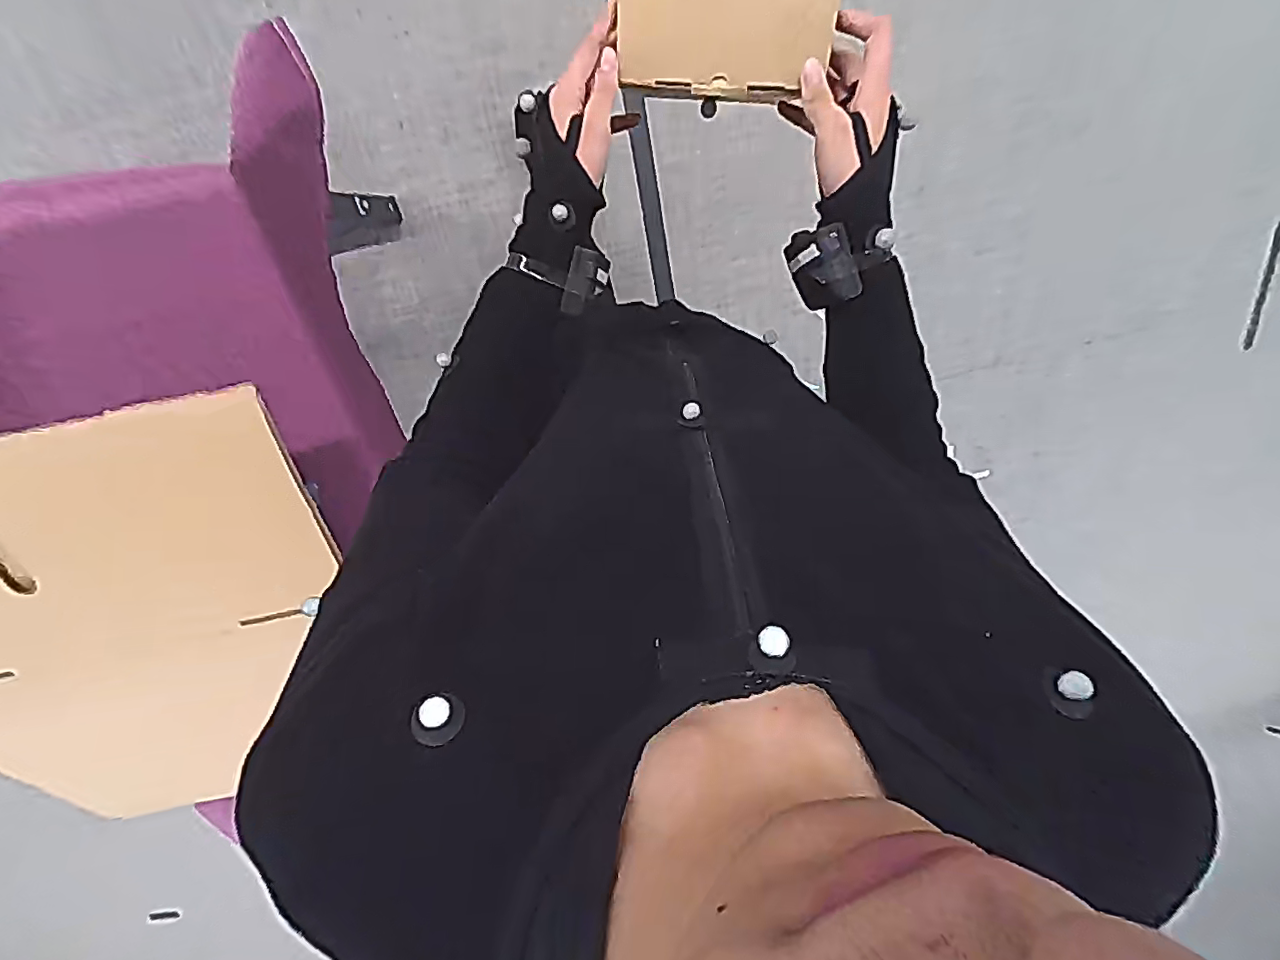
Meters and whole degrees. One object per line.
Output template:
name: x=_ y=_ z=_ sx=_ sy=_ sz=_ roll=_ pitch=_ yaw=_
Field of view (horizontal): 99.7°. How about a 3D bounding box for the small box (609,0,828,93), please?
small box: x=0.066 y=-0.435 z=0.450 sx=0.168 sy=0.176 sz=0.179 roll=4 pitch=124 yaw=0
